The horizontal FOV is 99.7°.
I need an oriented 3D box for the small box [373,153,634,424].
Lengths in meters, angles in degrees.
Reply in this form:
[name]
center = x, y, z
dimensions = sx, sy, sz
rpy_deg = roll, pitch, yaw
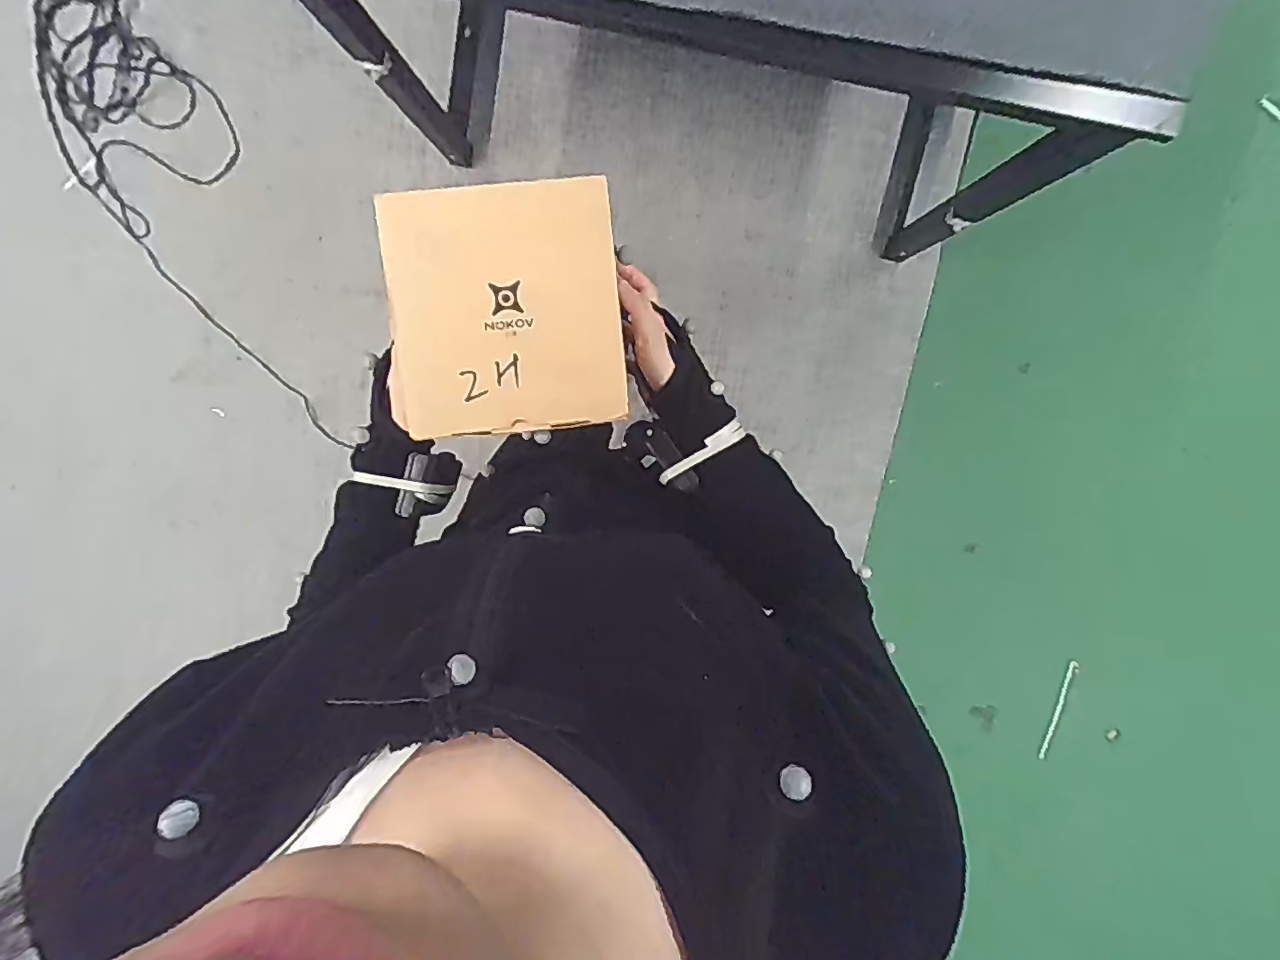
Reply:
[small box]
center = -0.097, -0.141, 0.455
dimensions = 0.168, 0.176, 0.179
rpy_deg = -6, 98, -2
